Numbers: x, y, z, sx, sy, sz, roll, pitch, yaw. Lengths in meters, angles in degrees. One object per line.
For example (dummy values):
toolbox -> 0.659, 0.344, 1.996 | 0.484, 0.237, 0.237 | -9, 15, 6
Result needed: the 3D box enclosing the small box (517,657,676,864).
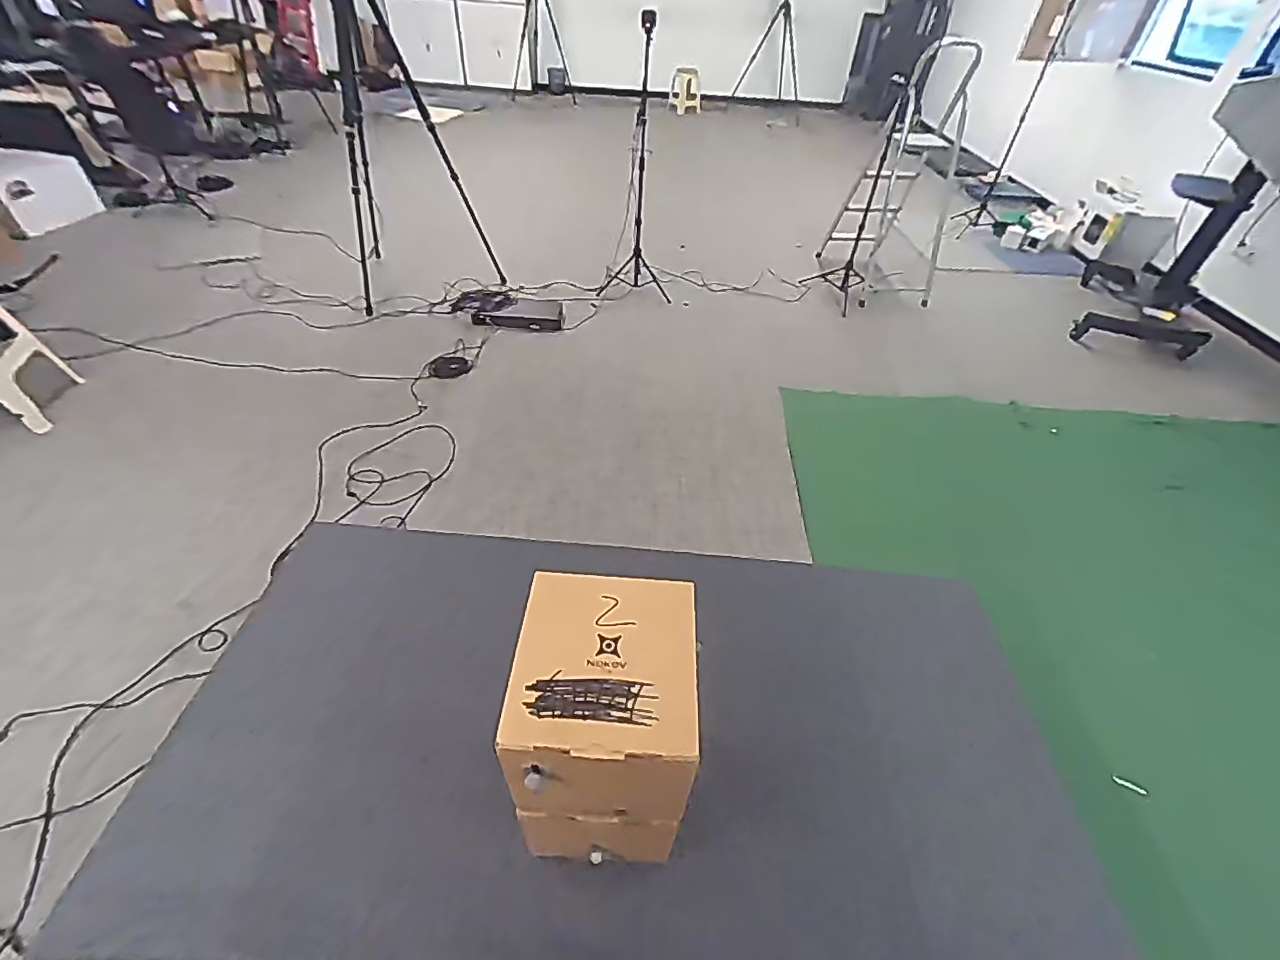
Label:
small box -> -0.046, 0.342, 0.662 | 0.168, 0.176, 0.179 | 3, 44, -1
